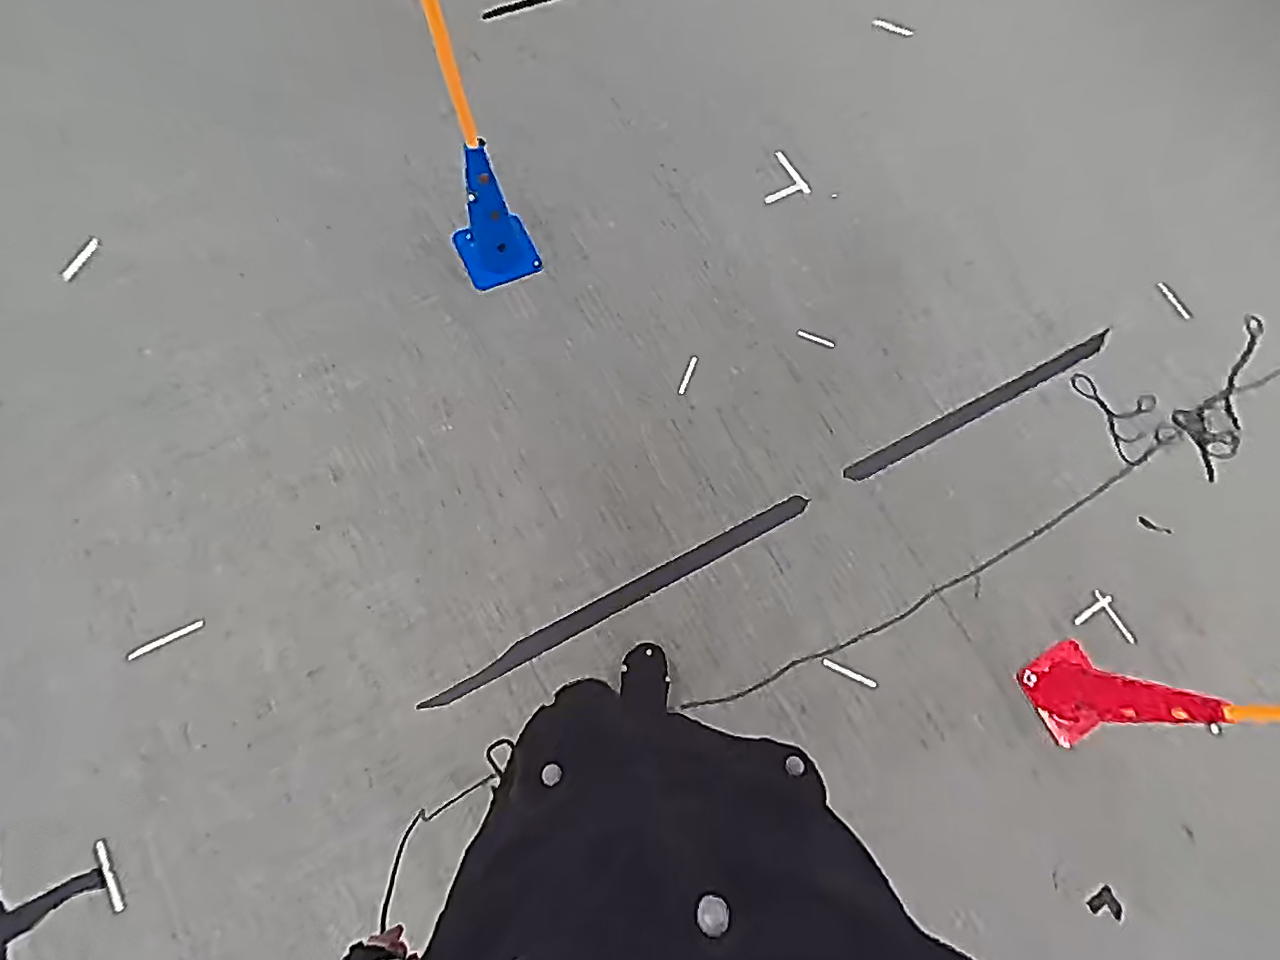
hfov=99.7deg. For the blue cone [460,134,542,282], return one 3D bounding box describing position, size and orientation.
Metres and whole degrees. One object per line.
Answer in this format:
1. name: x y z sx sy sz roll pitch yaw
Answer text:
1. blue cone: -0.373 -0.690 1.352 0.192 0.380 0.193 -23 79 -12
